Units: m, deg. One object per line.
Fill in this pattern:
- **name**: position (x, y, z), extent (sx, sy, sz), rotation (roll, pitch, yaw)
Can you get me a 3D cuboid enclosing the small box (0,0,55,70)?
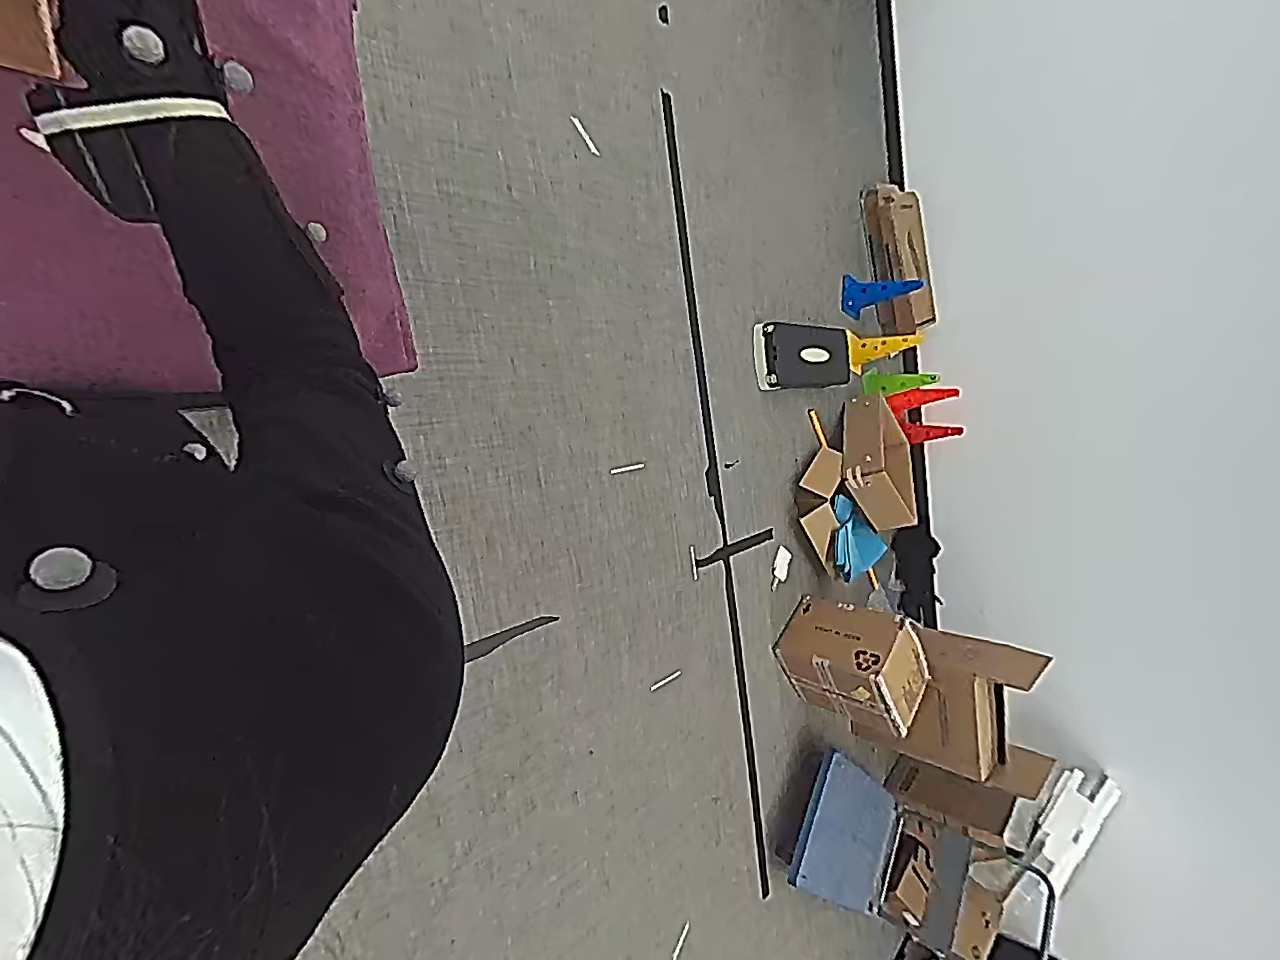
- **small box**: position (-0.515, -0.426, 0.347), extent (0.168, 0.176, 0.179), rotation (-9, 97, -42)
